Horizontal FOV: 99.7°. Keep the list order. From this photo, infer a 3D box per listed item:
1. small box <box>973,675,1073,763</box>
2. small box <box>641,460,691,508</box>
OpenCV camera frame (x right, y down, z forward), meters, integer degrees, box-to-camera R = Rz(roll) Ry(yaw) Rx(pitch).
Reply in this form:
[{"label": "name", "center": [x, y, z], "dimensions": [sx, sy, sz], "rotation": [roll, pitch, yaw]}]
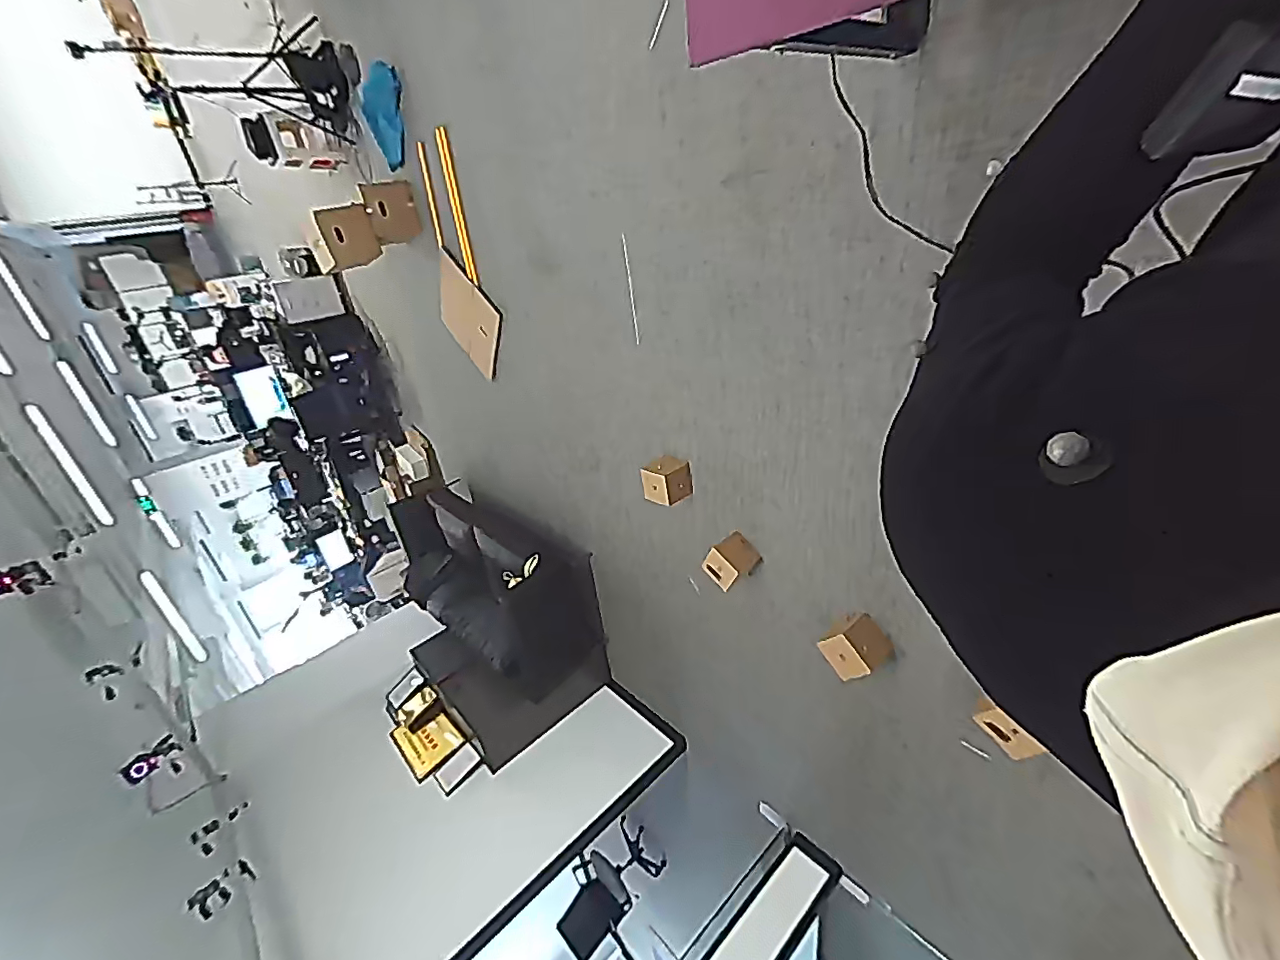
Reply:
[{"label": "small box", "center": [1.214, 0.754, 1.710], "dimensions": [0.168, 0.176, 0.179], "rotation": [48, 143, 20]}, {"label": "small box", "center": [0.134, 0.013, 2.623], "dimensions": [0.179, 0.176, 0.168], "rotation": [18, 126, 46]}]
